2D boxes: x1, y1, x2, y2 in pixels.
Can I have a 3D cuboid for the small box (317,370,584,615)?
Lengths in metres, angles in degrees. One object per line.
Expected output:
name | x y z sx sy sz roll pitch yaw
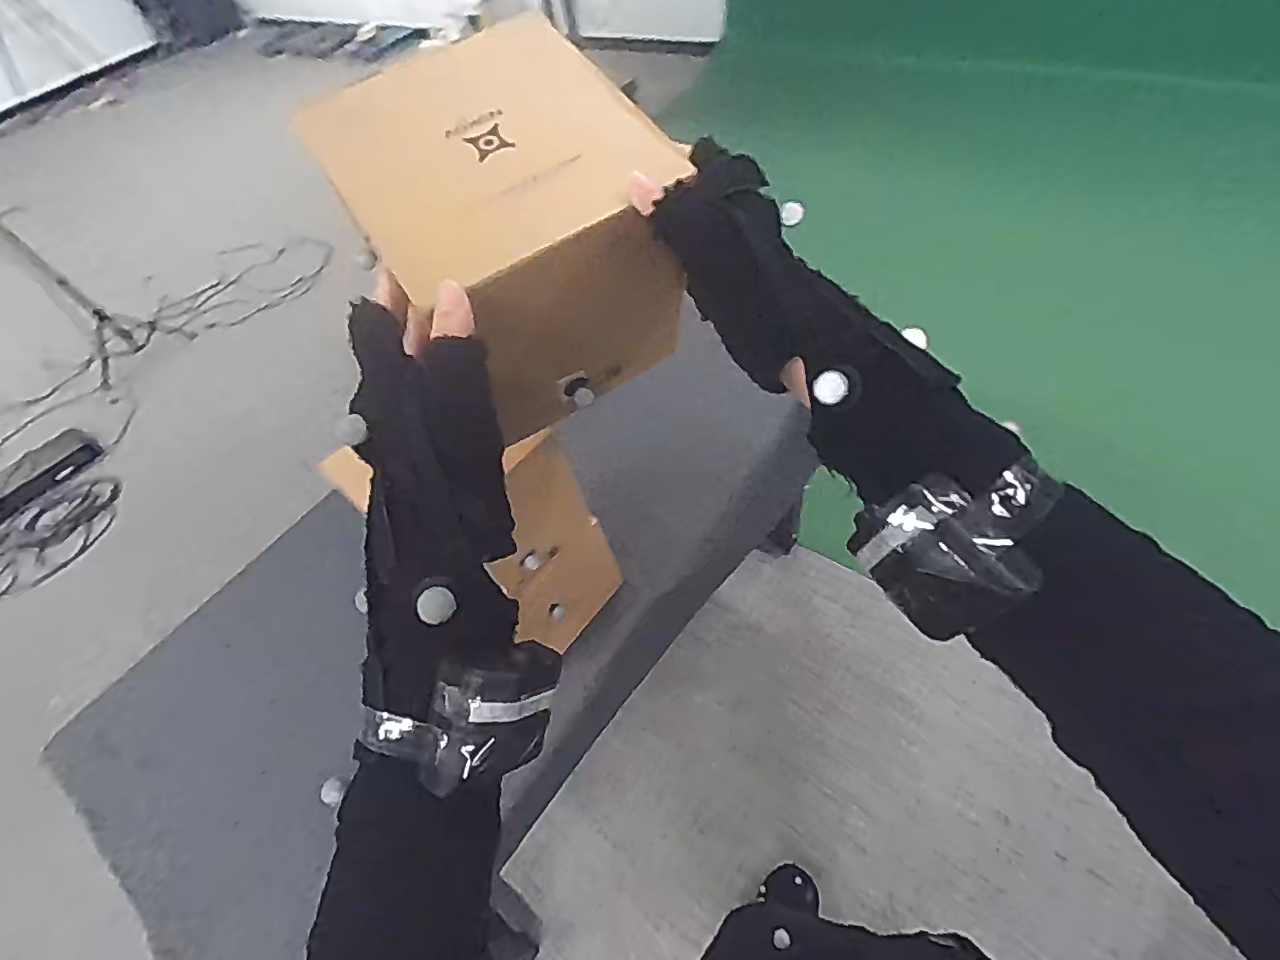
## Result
small box | -0.189 0.016 0.580 0.179 0.176 0.168 26 64 29

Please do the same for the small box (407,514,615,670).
small box | -0.154 0.116 0.706 0.168 0.176 0.179 30 66 29

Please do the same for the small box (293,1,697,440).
small box | -0.082 -0.159 0.367 0.168 0.176 0.179 -31 72 -10
